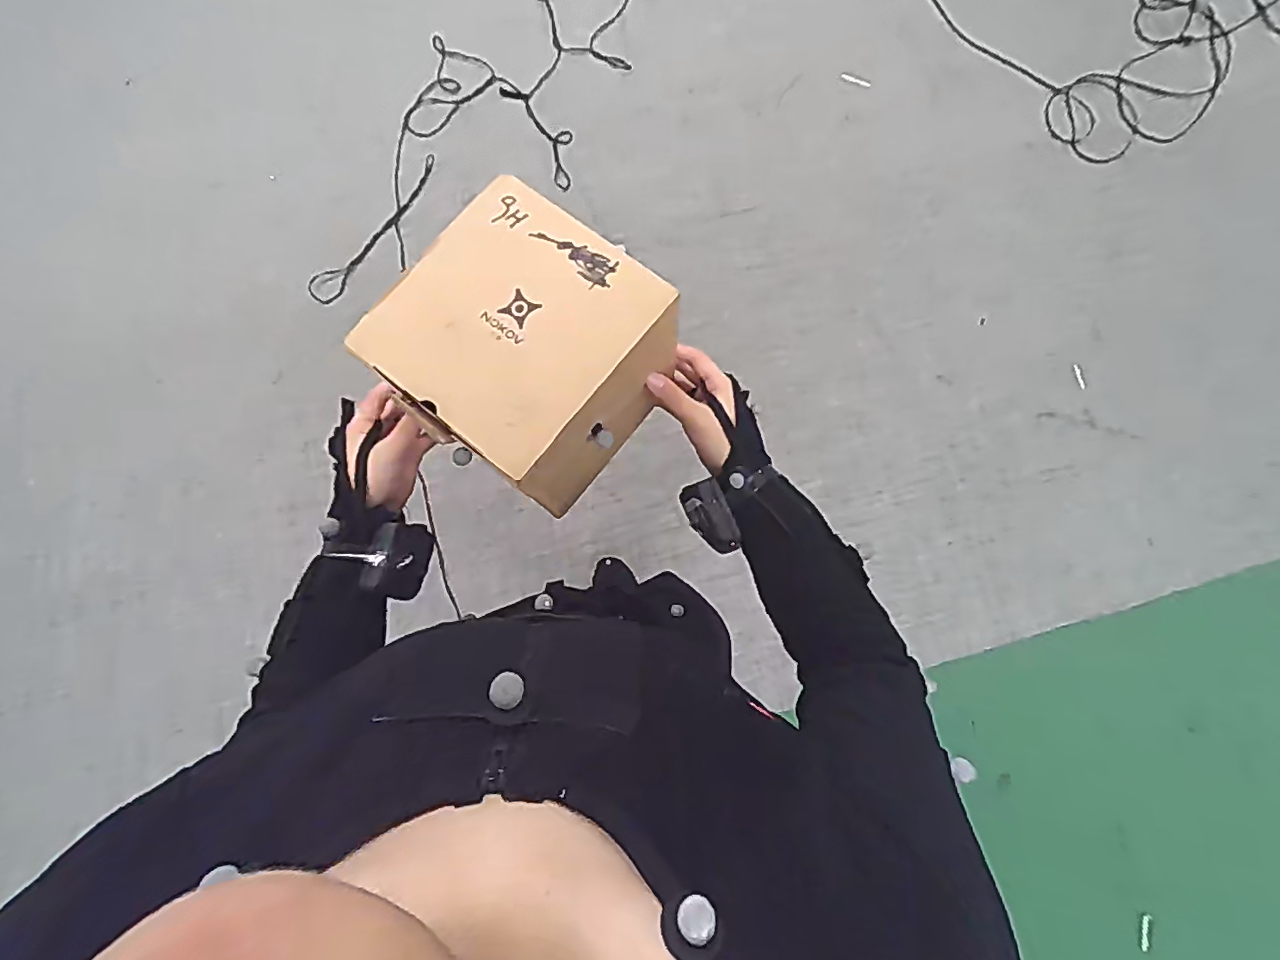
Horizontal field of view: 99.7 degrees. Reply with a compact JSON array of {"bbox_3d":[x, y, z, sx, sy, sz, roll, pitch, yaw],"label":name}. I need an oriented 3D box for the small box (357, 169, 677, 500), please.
[{"bbox_3d":[-0.083,-0.103,0.459,0.168,0.176,0.179,38,82,8],"label":"small box"}]
